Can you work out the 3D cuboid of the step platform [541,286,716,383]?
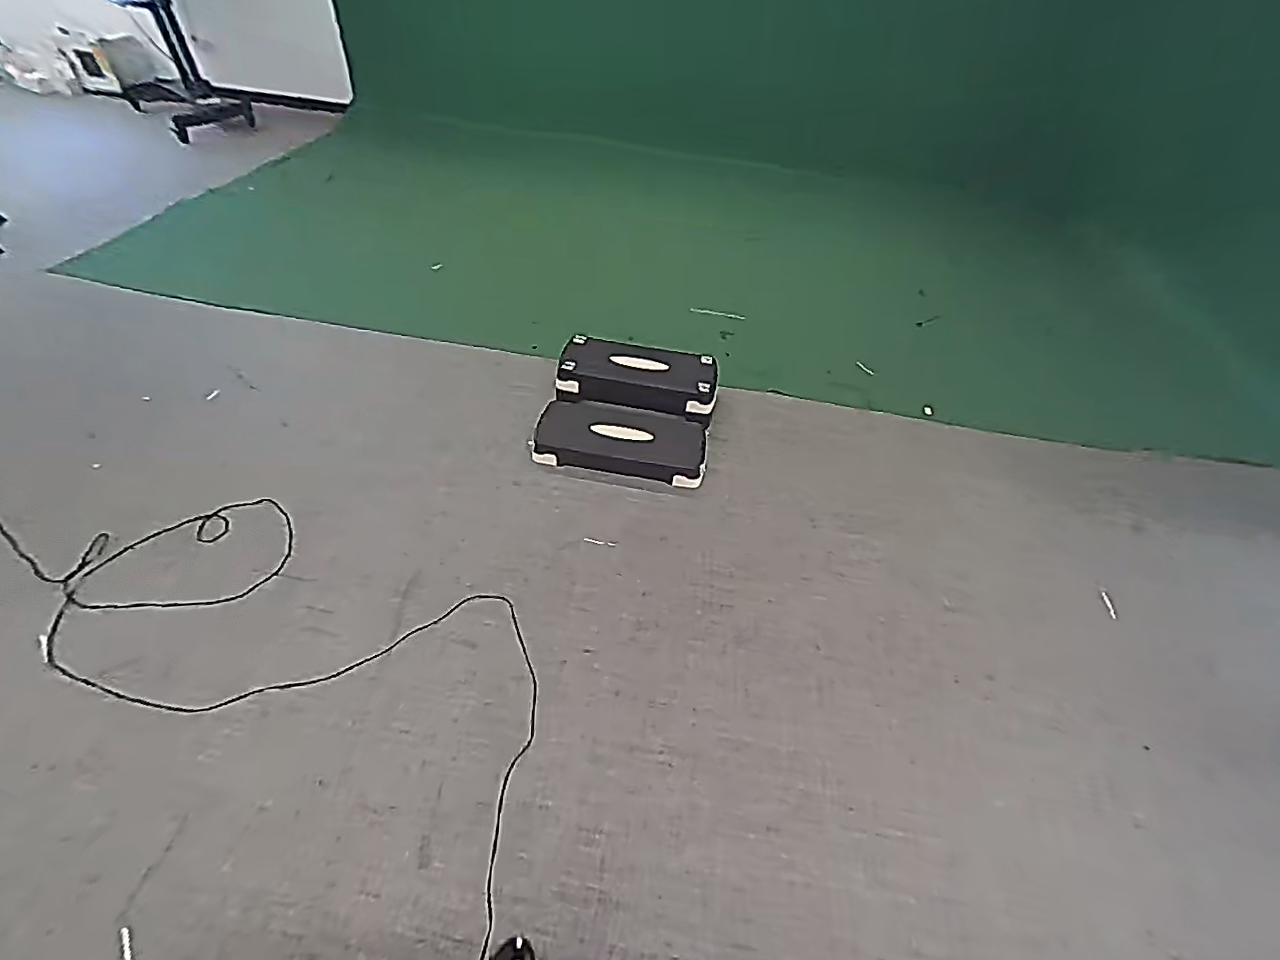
[{"bbox_3d":[-0.047,-0.591,2.199,0.684,0.204,0.286,9,47,3],"label":"step platform"}]
